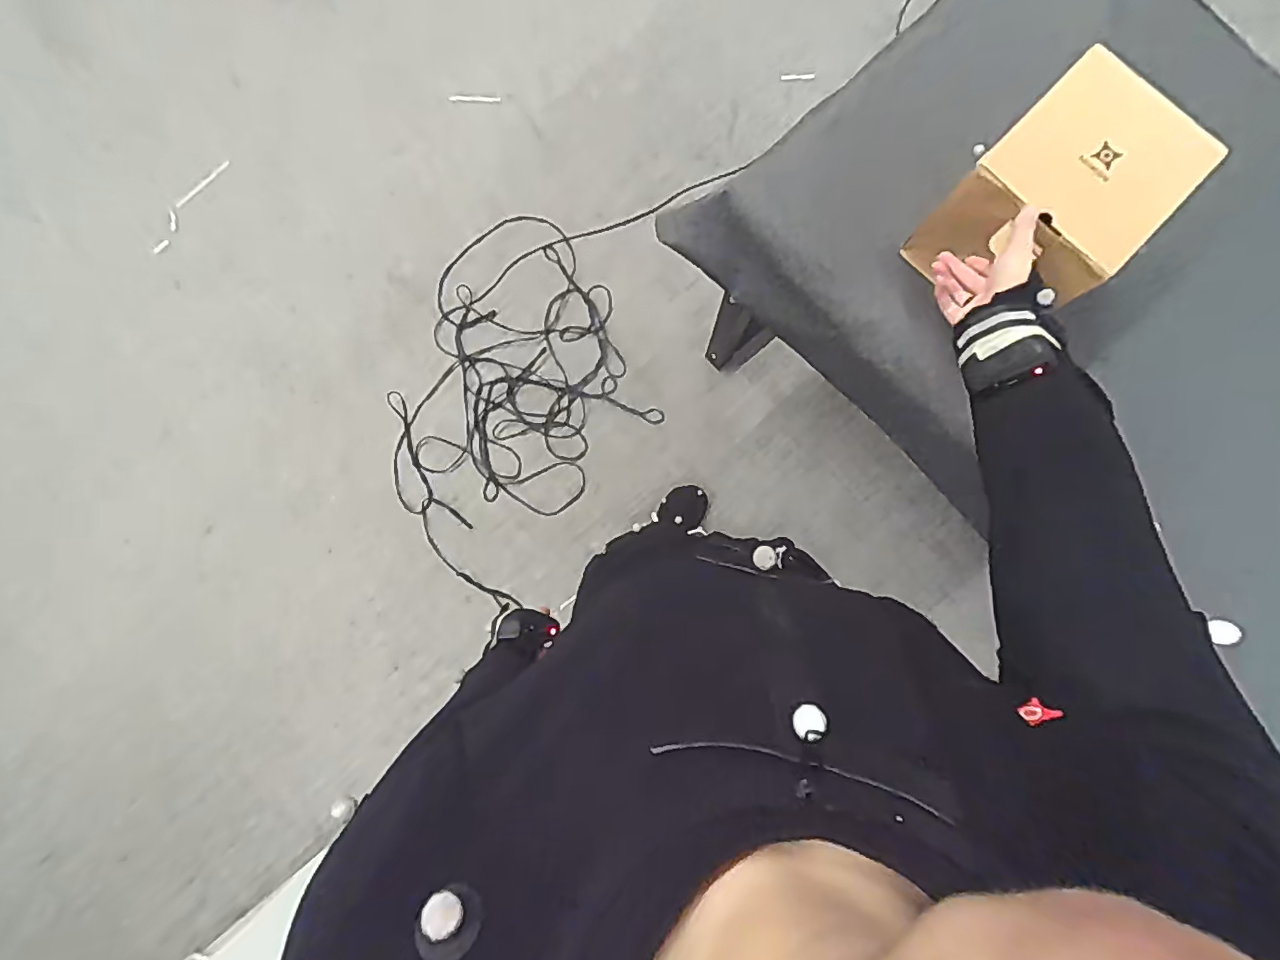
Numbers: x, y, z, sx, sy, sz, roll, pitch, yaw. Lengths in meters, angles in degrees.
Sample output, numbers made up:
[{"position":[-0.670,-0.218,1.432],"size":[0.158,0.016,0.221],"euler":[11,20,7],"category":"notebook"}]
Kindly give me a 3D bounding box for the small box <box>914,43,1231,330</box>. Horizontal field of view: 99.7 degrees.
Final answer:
[{"position":[0.446,-0.301,0.592],"size":[0.168,0.176,0.179],"euler":[44,88,4],"category":"small box"}]
